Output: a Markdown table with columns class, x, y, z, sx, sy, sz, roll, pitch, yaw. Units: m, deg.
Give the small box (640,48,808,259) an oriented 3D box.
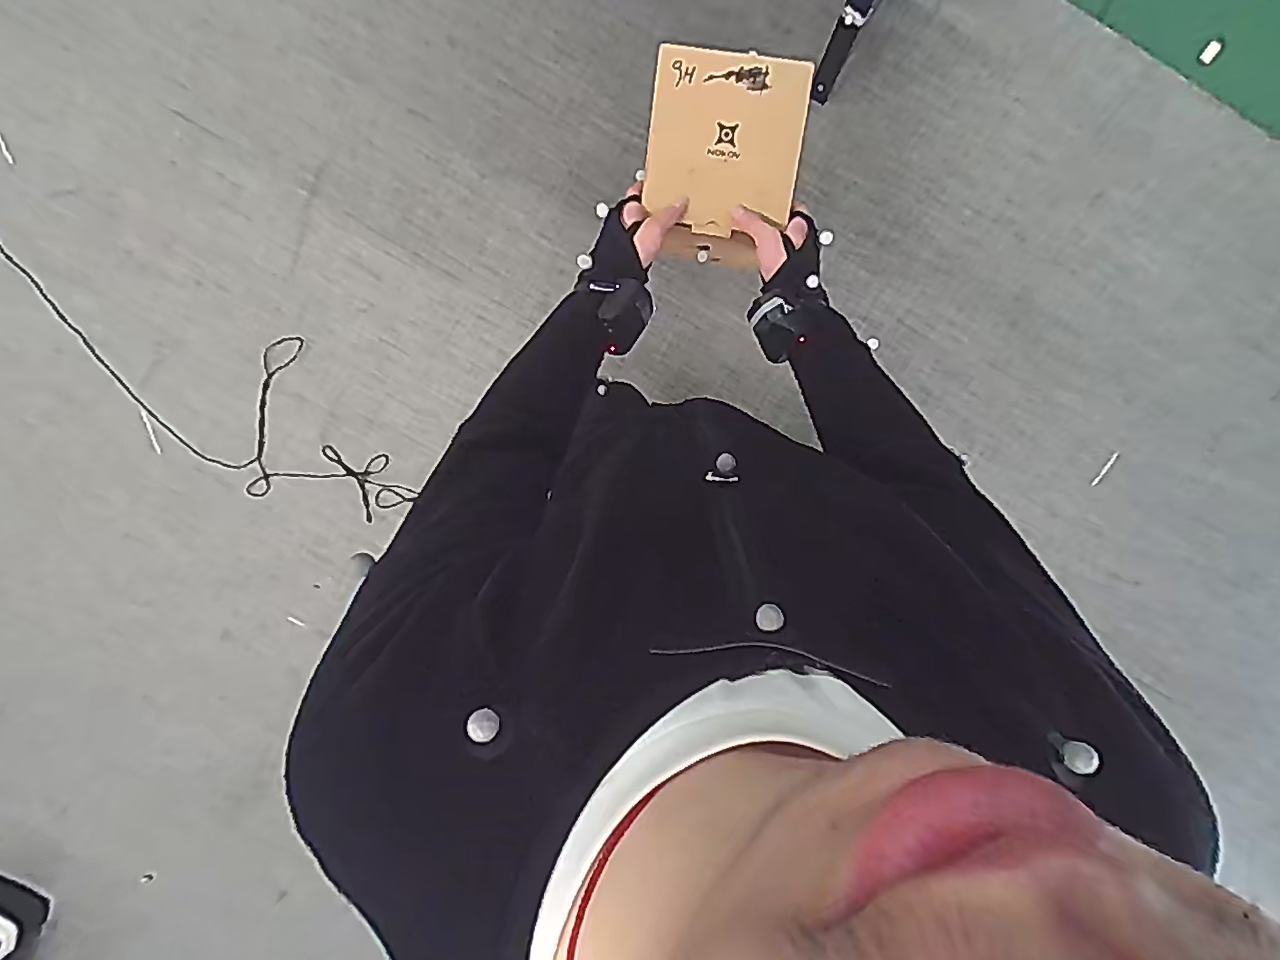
| class | x | y | z | sx | sy | sz | roll | pitch | yaw |
| --- | --- | --- | --- | --- | --- | --- | --- | --- | --- |
| small box | 0.093 | -0.381 | 0.664 | 0.168 | 0.176 | 0.179 | 5 | 101 | 1 |
